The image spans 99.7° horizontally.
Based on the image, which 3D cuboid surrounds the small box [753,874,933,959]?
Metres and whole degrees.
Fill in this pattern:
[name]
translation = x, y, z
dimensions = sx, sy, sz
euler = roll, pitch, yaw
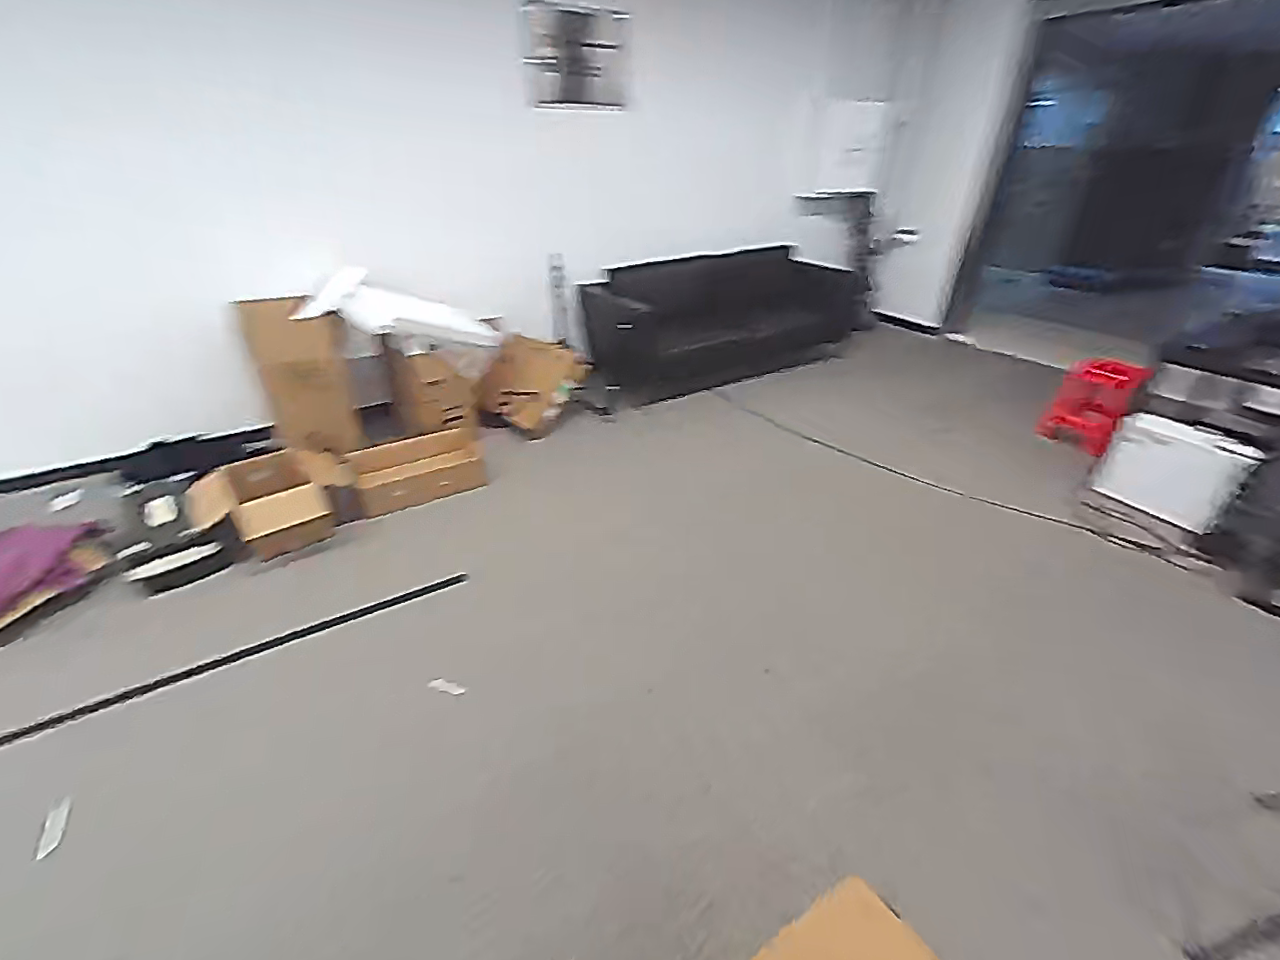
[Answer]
[small box]
translation = 0.233, 0.598, 0.595
dimensions = 0.179, 0.176, 0.168
euler = -19, 33, -25
